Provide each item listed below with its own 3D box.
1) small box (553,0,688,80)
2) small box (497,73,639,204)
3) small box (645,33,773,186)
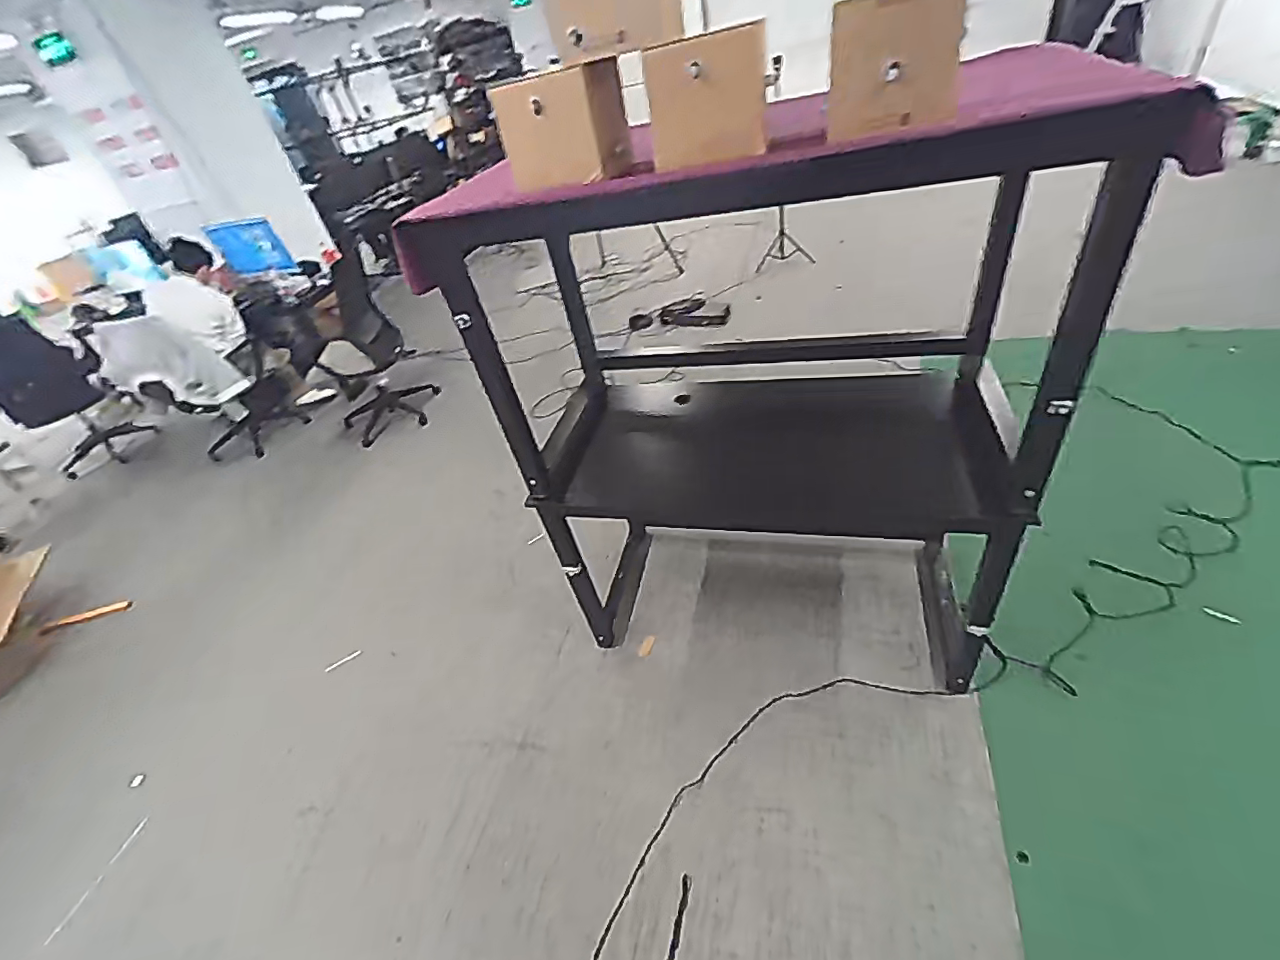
[{"bbox_3d":[-0.028,-0.743,0.842,0.168,0.176,0.179,2,39,19],"label":"small box"},{"bbox_3d":[-0.119,-0.612,0.974,0.179,0.176,0.168,5,42,22],"label":"small box"},{"bbox_3d":[0.124,-0.605,0.890,0.179,0.176,0.168,-1,39,18],"label":"small box"}]
